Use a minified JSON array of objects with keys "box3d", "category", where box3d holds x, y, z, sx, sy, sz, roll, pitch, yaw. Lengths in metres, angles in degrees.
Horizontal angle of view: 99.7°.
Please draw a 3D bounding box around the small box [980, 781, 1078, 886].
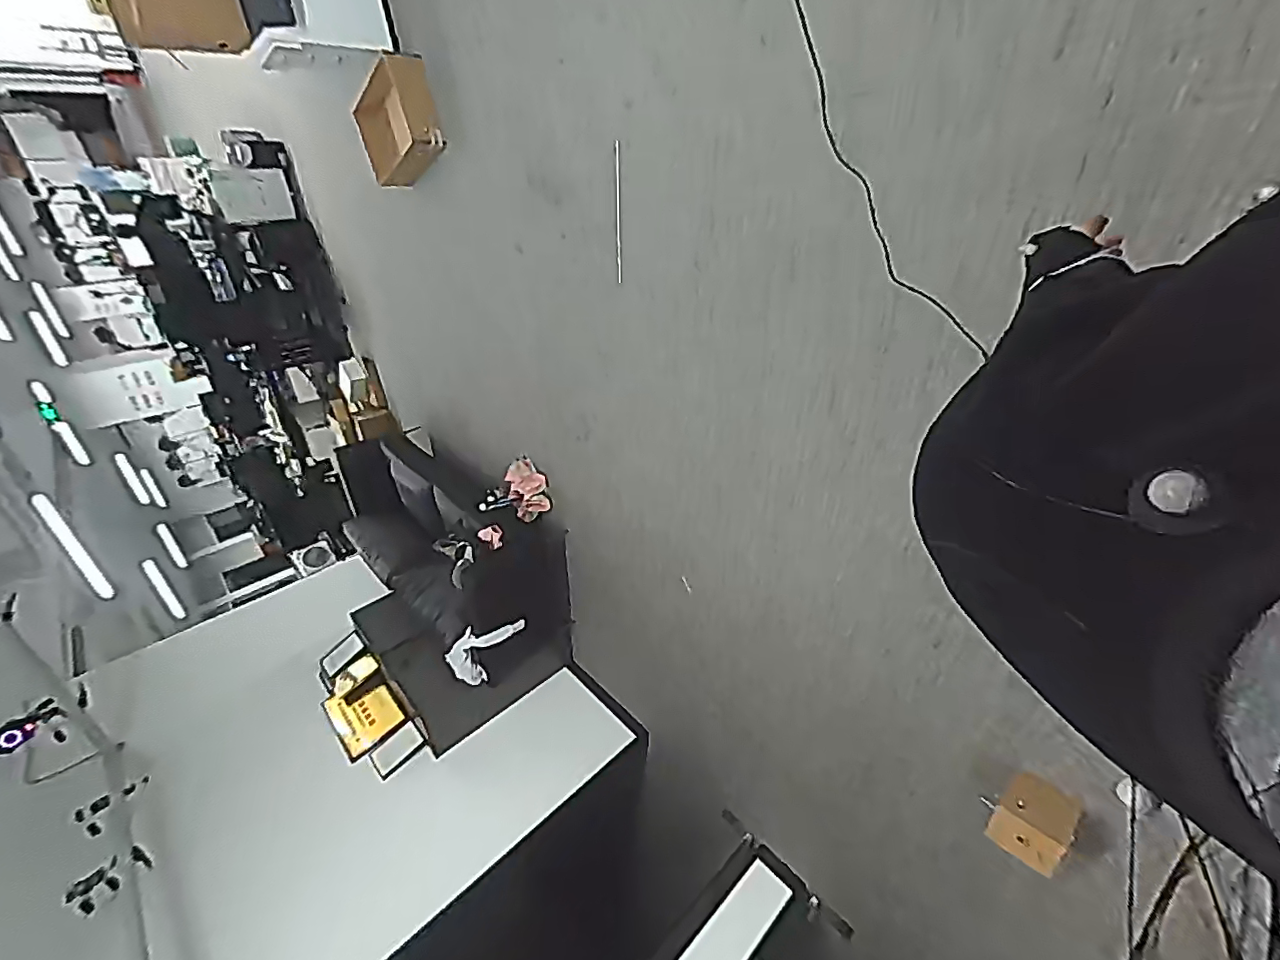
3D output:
[{"box3d":[1.162,1.041,1.614,0.179,0.176,0.168,26,129,40],"category":"small box"}]
